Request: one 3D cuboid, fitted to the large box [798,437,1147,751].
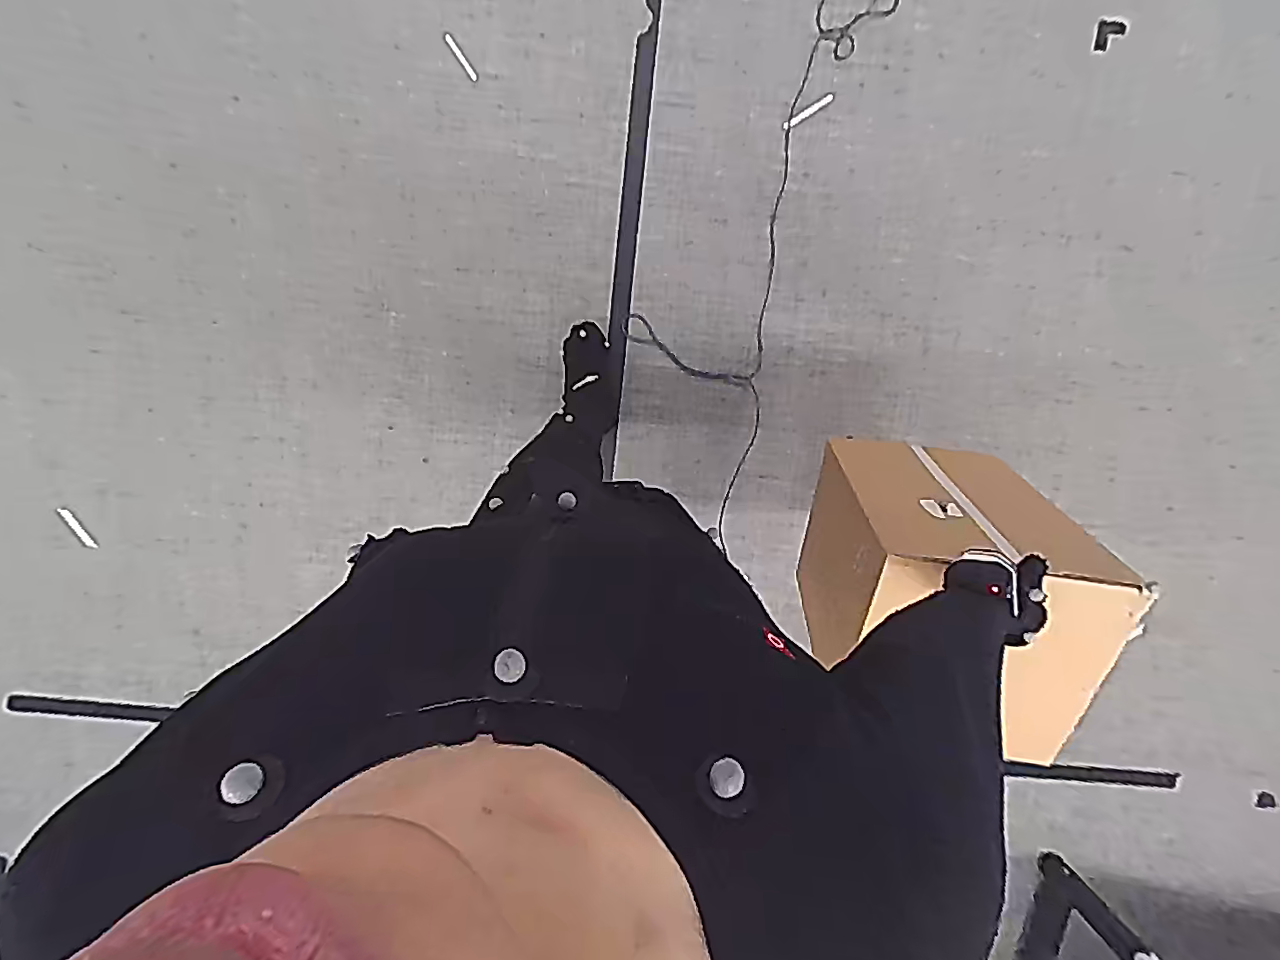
[{"bbox_3d":[0.476,0.159,0.907,0.320,0.408,0.320,7,117,5],"label":"large box"}]
